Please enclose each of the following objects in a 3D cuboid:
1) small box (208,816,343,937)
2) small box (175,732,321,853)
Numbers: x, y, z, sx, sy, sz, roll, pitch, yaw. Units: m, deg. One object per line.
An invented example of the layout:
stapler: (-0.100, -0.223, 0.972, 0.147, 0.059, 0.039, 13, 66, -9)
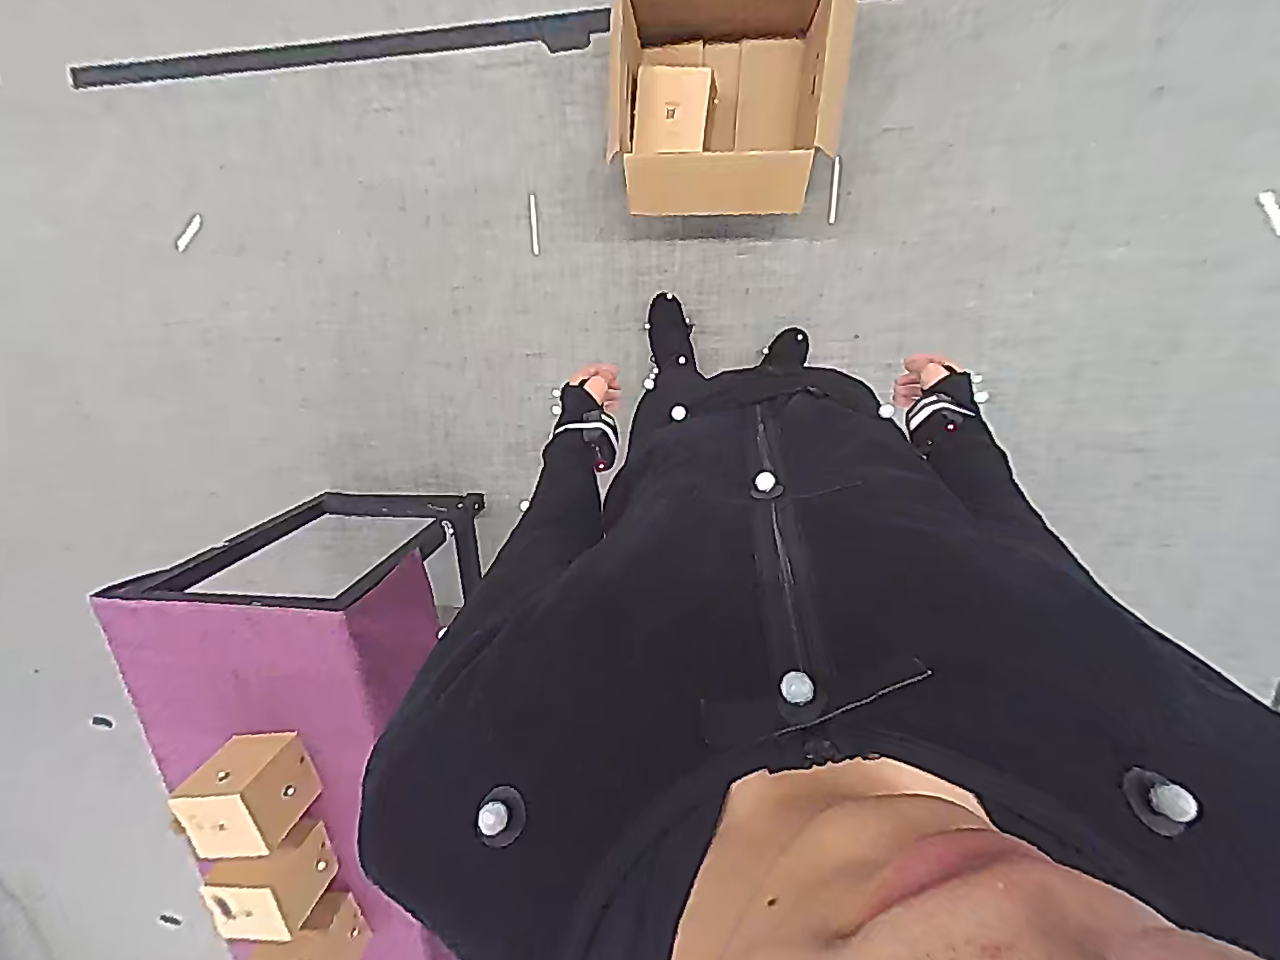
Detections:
small box: (-0.844, 0.919, 1.268, 0.179, 0.176, 0.168, -3, 108, 8)
small box: (-0.841, 0.679, 1.185, 0.179, 0.176, 0.168, -8, 107, 11)
